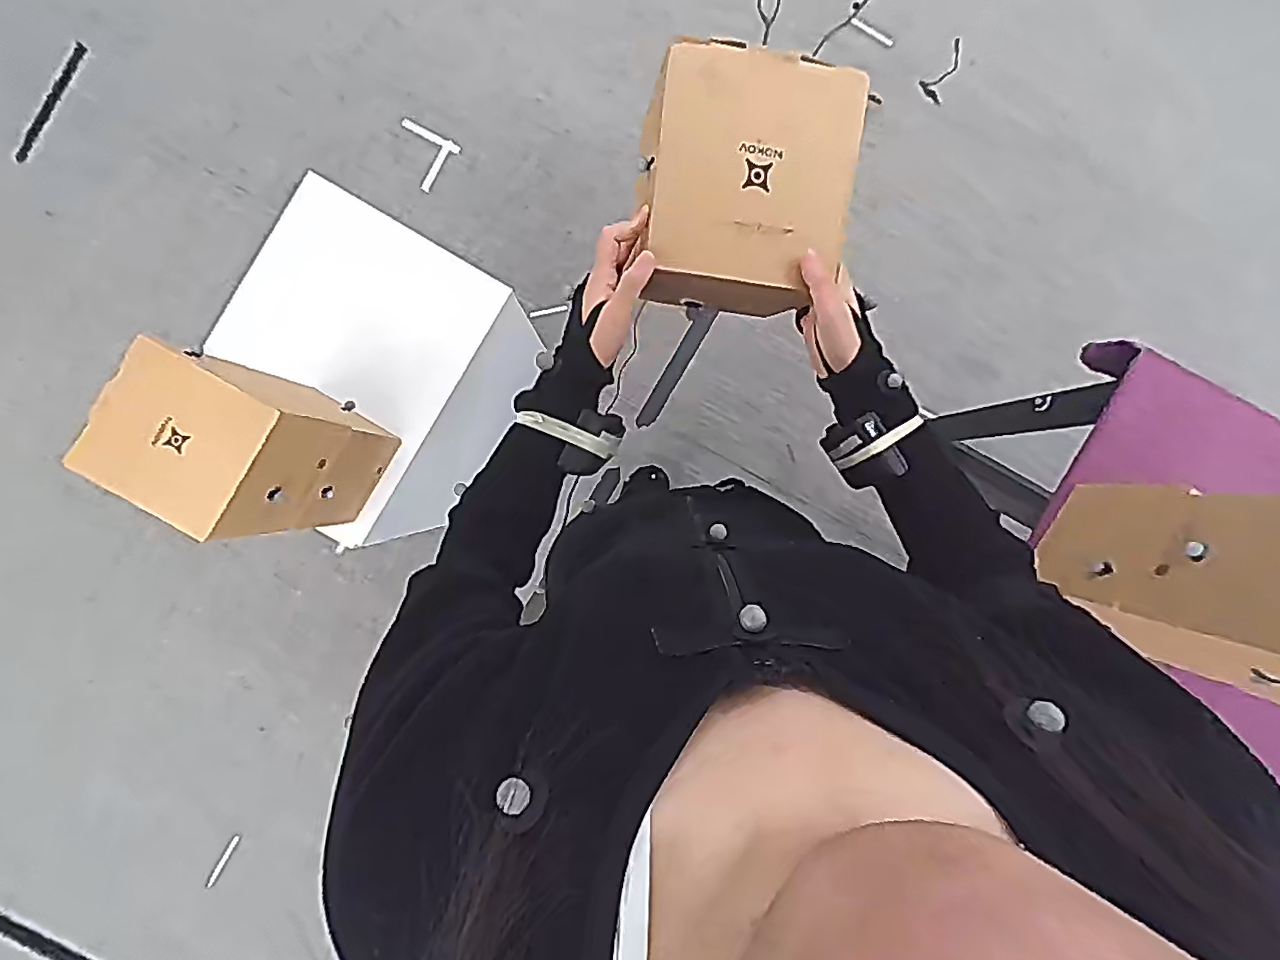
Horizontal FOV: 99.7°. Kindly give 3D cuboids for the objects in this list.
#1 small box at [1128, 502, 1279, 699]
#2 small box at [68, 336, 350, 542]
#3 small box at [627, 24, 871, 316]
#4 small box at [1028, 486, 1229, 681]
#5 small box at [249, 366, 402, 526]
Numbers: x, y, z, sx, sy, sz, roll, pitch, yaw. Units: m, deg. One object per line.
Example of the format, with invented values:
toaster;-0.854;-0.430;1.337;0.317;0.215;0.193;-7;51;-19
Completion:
small box;0.678;0.130;0.551;0.179;0.176;0.168;33;89;0
small box;-0.499;-0.045;0.660;0.179;0.176;0.168;29;89;-1
small box;0.083;-0.262;0.505;0.168;0.176;0.179;5;100;-8
small box;0.668;0.123;0.715;0.168;0.176;0.179;34;89;-1
small box;-0.506;-0.044;0.823;0.179;0.176;0.168;30;89;0
